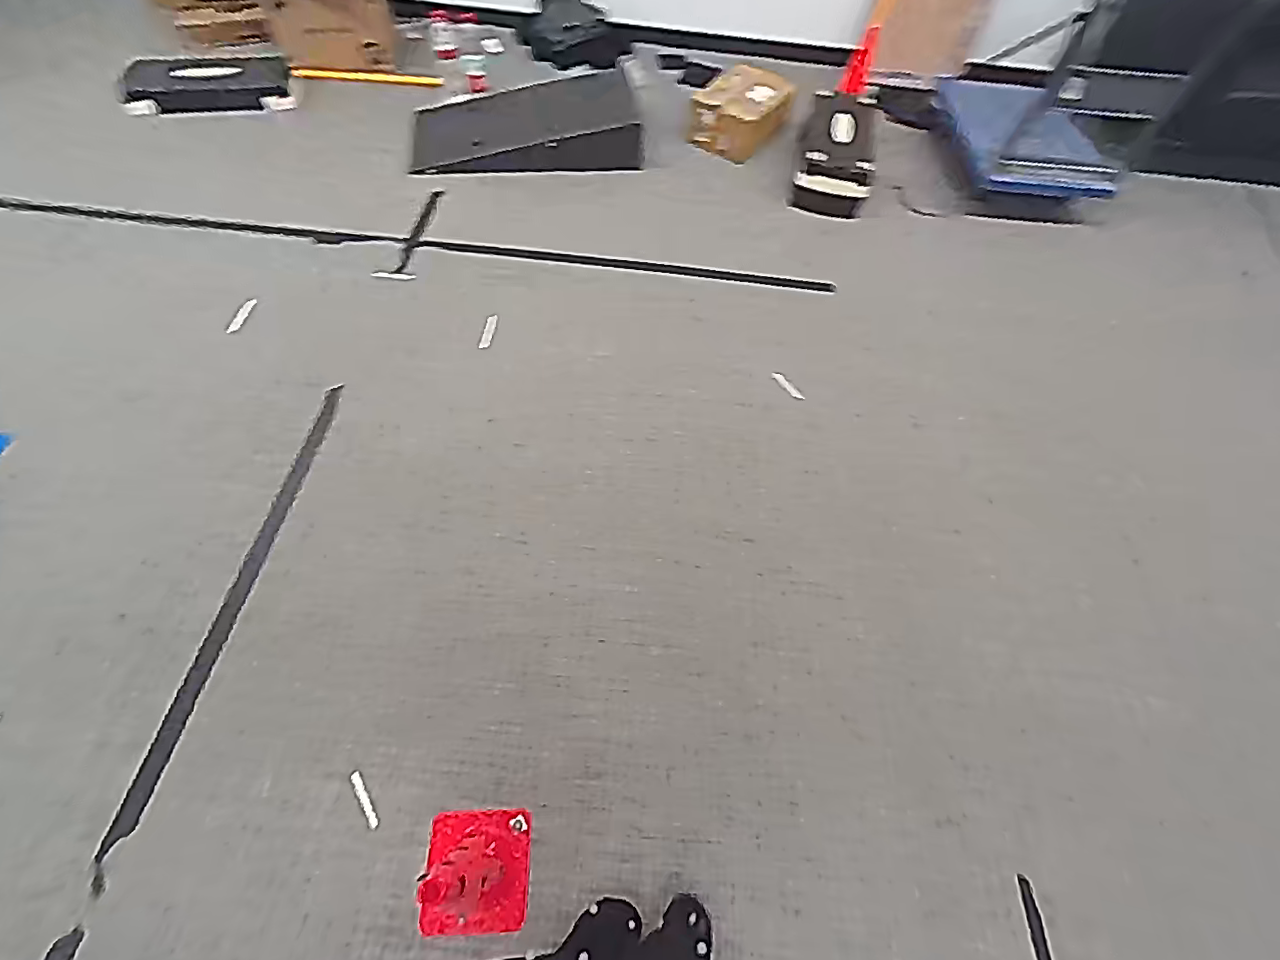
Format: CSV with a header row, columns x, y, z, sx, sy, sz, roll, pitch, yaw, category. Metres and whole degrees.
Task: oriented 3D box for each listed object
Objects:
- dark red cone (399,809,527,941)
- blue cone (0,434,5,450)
x,y,z,sx,sy,sz,roll,pitch,yaw,category
-0.312,0.661,0.890,0.201,0.394,0.202,-1,59,-3,dark red cone
-1.824,-0.141,1.301,0.192,0.380,0.193,6,58,1,blue cone
